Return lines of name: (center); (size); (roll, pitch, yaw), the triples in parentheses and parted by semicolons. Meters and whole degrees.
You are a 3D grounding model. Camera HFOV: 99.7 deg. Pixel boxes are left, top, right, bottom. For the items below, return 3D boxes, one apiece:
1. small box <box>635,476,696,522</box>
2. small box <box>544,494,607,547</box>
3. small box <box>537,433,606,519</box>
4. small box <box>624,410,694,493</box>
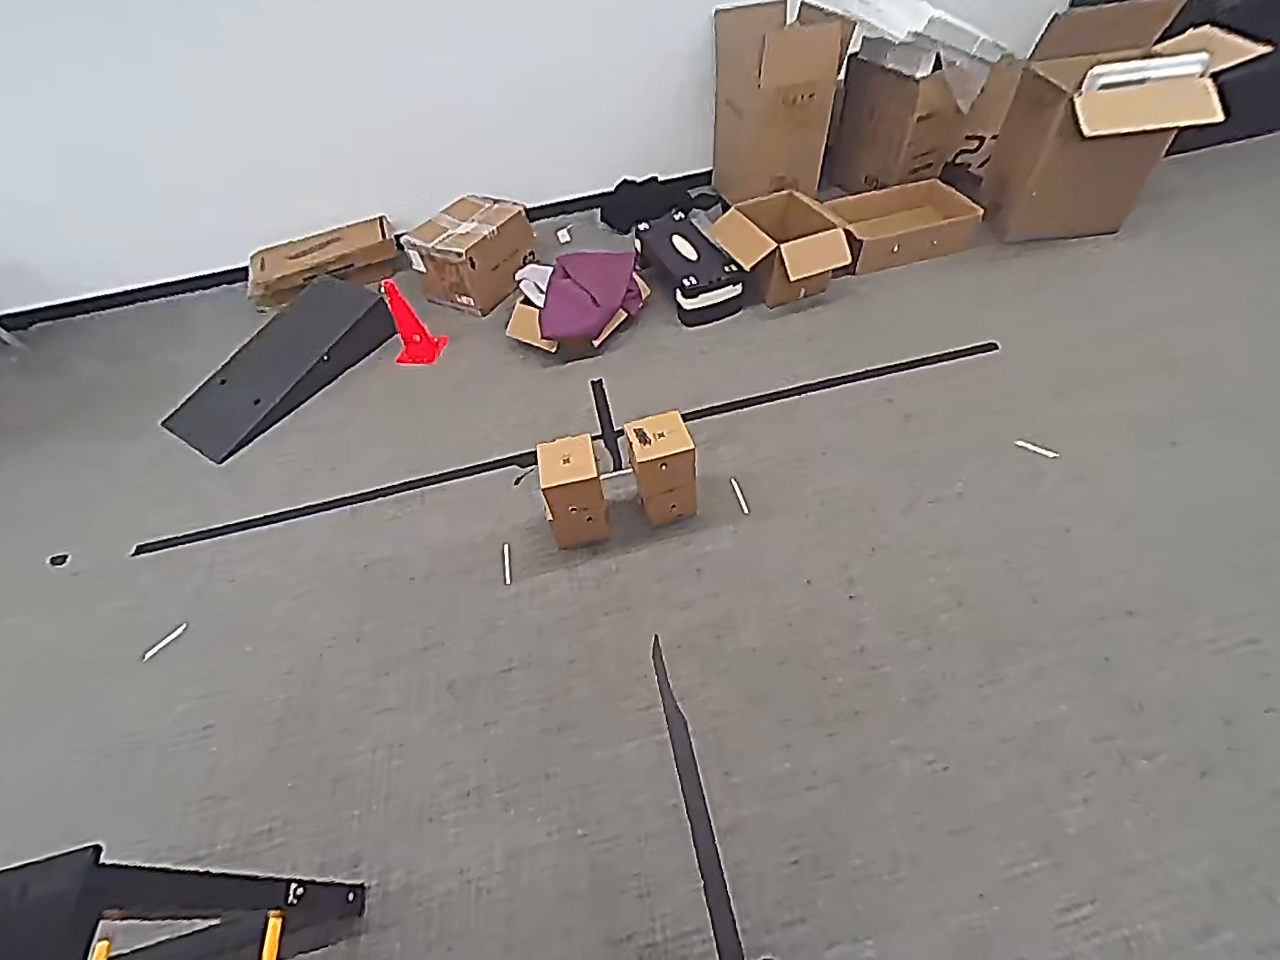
small box: (0.082, 0.018, 1.774); (0.168, 0.176, 0.179); (-15, 52, -5)
small box: (-0.206, 0.092, 1.746); (0.179, 0.176, 0.168); (-13, 51, -3)
small box: (-0.205, -0.010, 1.619); (0.168, 0.176, 0.179); (-13, 52, -2)
small box: (0.060, -0.081, 1.642); (0.179, 0.176, 0.168); (-15, 51, -6)
